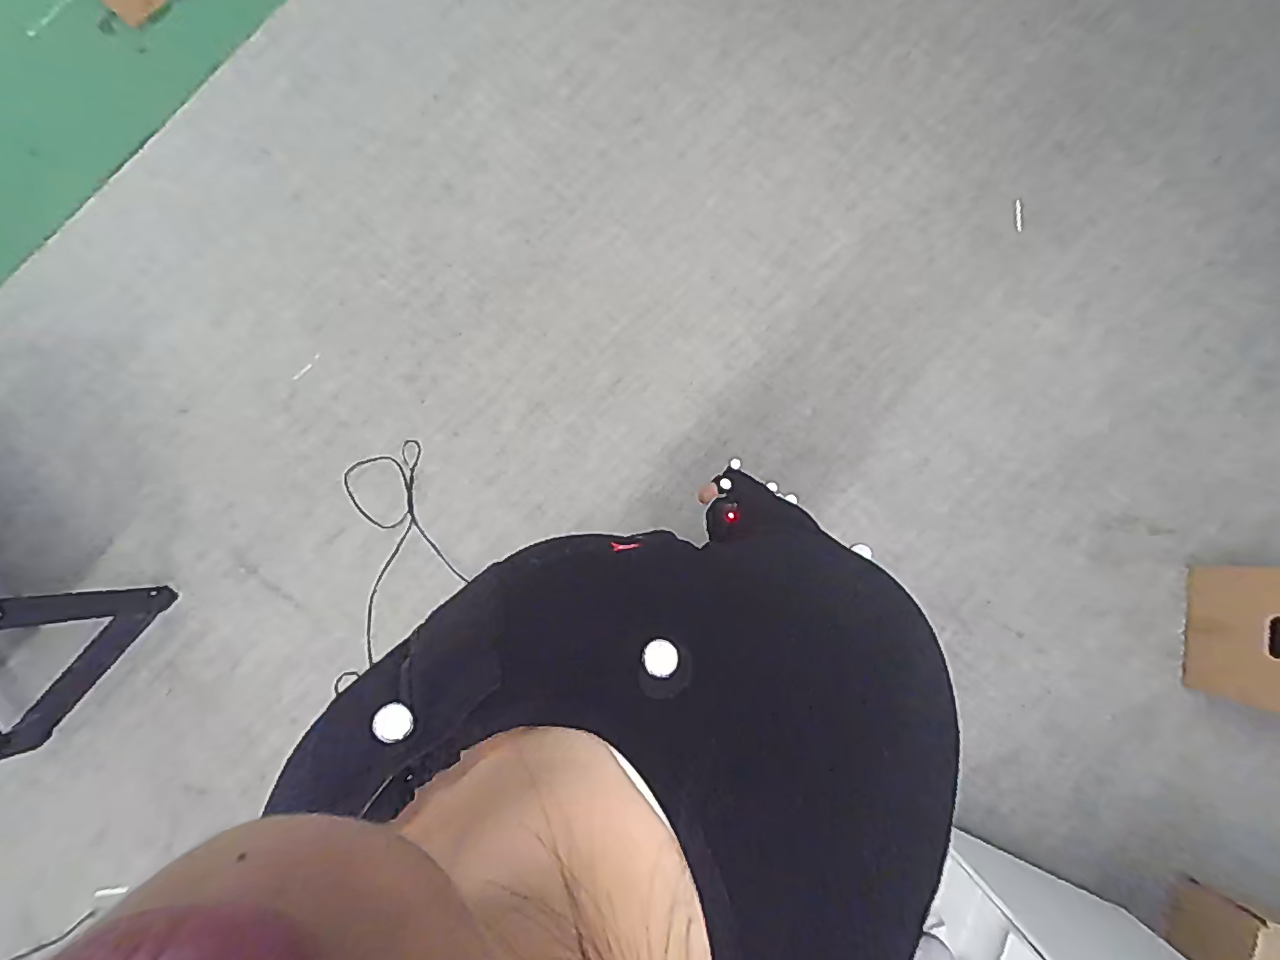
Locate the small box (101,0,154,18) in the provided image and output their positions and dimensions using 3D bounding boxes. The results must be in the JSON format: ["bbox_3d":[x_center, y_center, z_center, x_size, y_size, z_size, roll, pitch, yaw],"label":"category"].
[{"bbox_3d":[-1.744,-1.675,1.769,0.168,0.176,0.179,-40,82,-2],"label":"small box"}]
